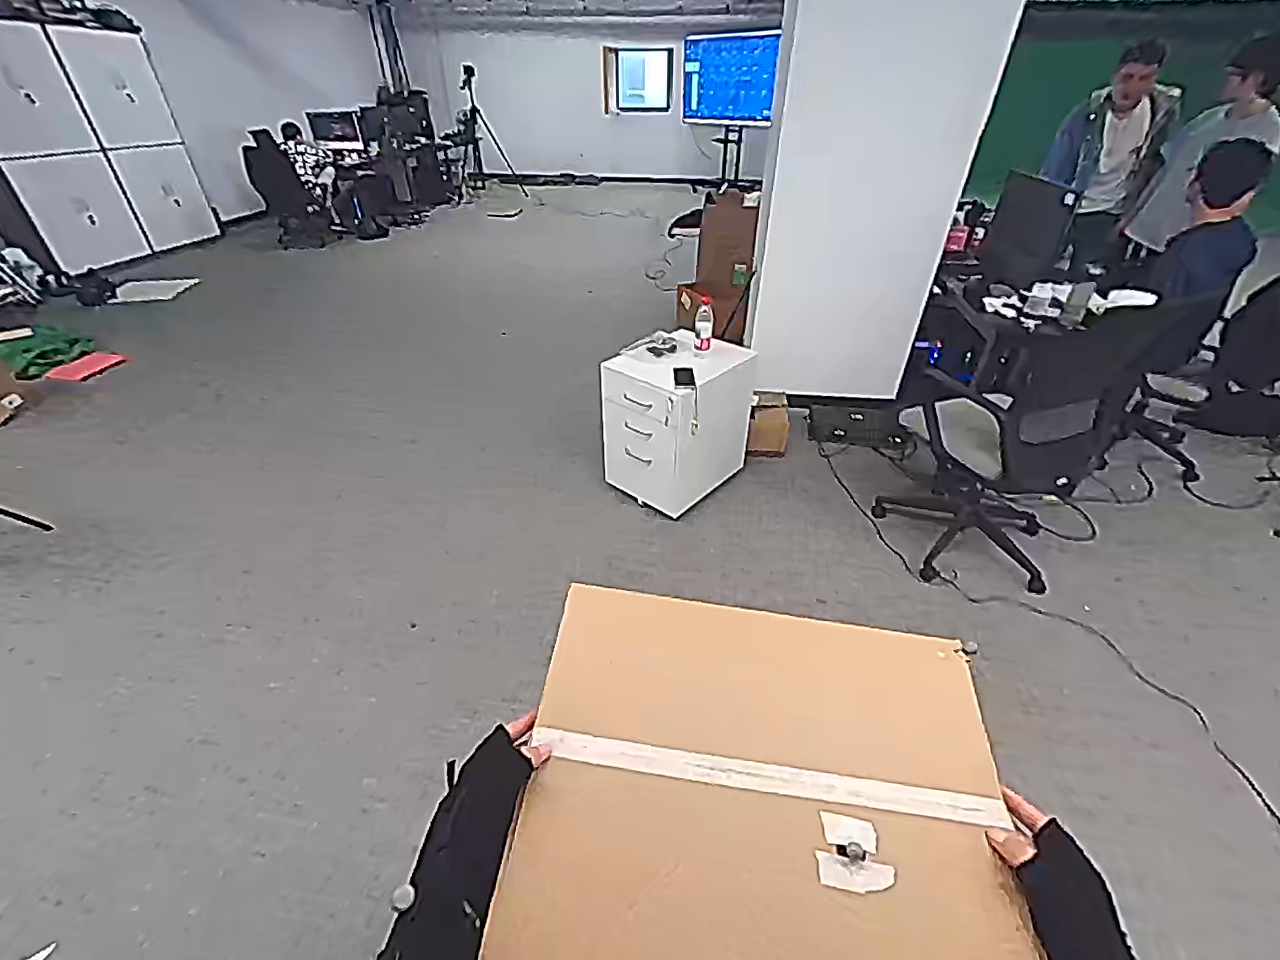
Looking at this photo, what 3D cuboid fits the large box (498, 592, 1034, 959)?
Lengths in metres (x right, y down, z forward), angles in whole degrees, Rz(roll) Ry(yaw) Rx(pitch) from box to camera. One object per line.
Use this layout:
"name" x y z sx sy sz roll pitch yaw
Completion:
"large box" 0.099 0.353 0.588 0.408 0.320 0.320 8 50 2
